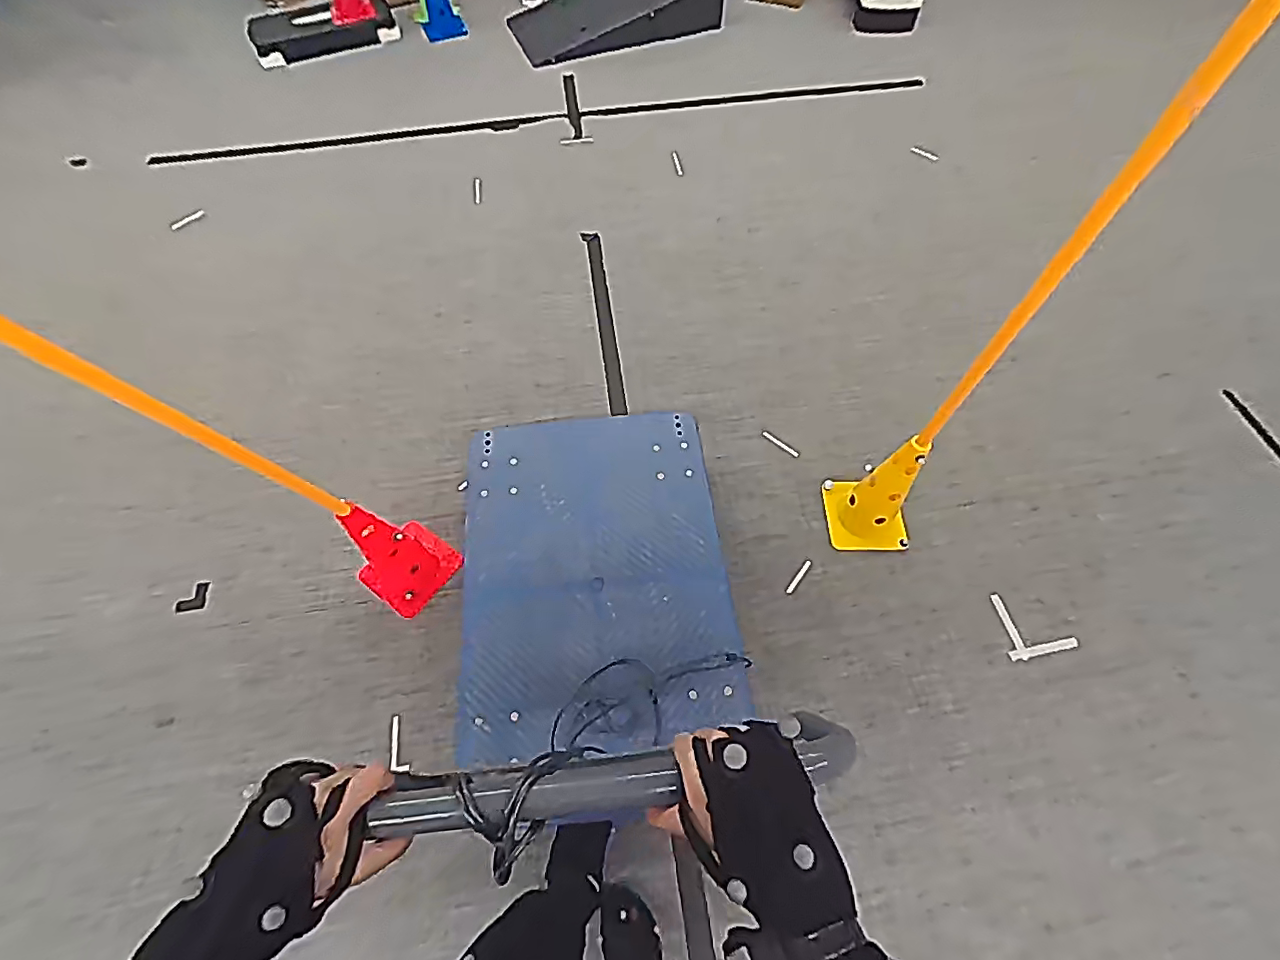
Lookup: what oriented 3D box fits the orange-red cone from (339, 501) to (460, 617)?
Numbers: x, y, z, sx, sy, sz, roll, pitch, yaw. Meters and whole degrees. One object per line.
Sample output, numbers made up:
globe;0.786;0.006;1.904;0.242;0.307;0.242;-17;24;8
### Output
orange-red cone;-0.579;0.140;1.220;0.198;0.360;0.199;34;65;16
